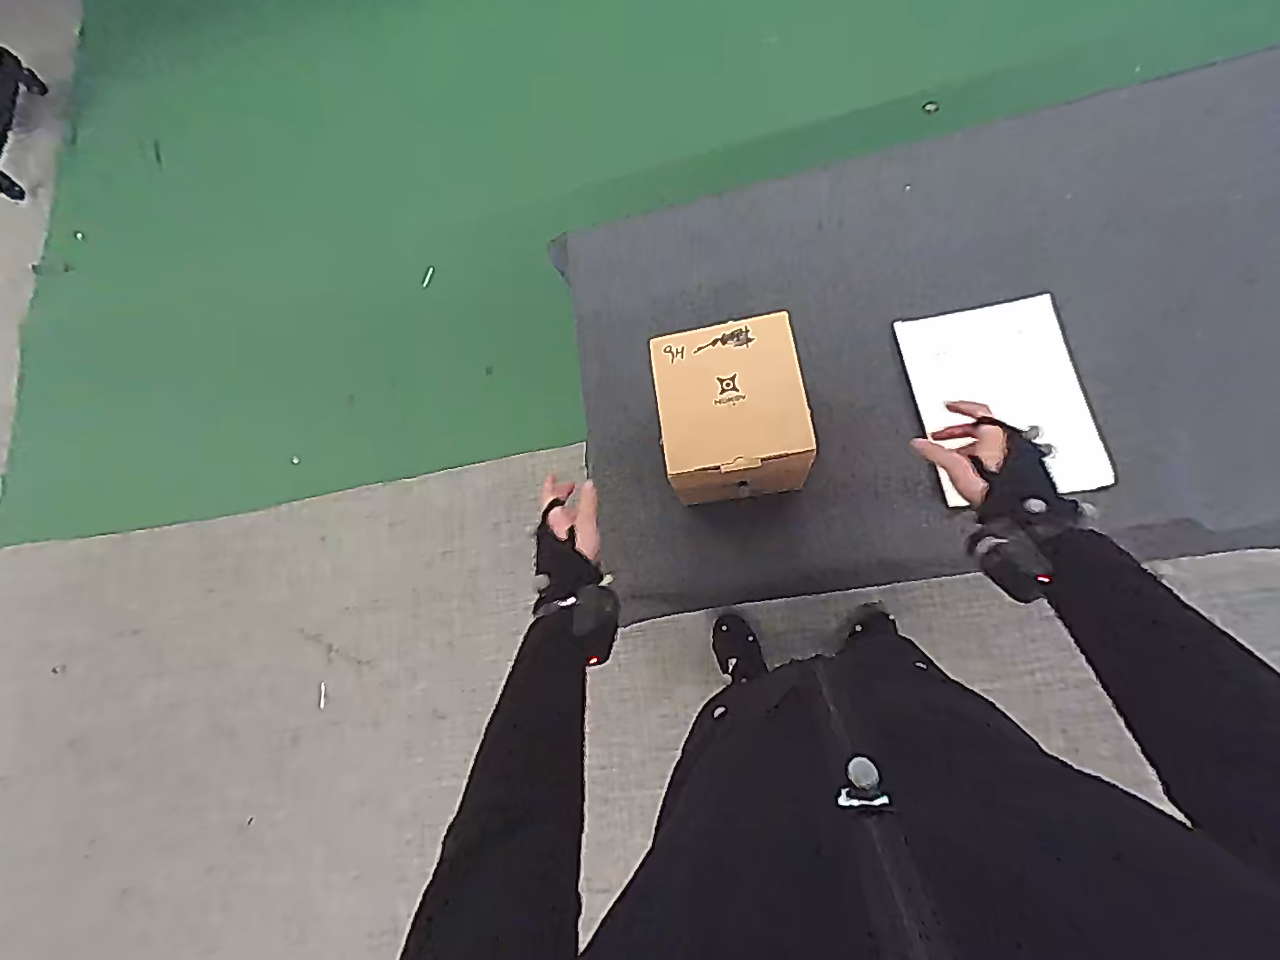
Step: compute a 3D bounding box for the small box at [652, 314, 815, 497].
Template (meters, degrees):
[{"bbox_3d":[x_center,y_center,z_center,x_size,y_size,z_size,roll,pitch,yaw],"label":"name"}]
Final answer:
[{"bbox_3d":[0.119,-0.080,0.692,0.168,0.176,0.179,-9,76,9],"label":"small box"}]
